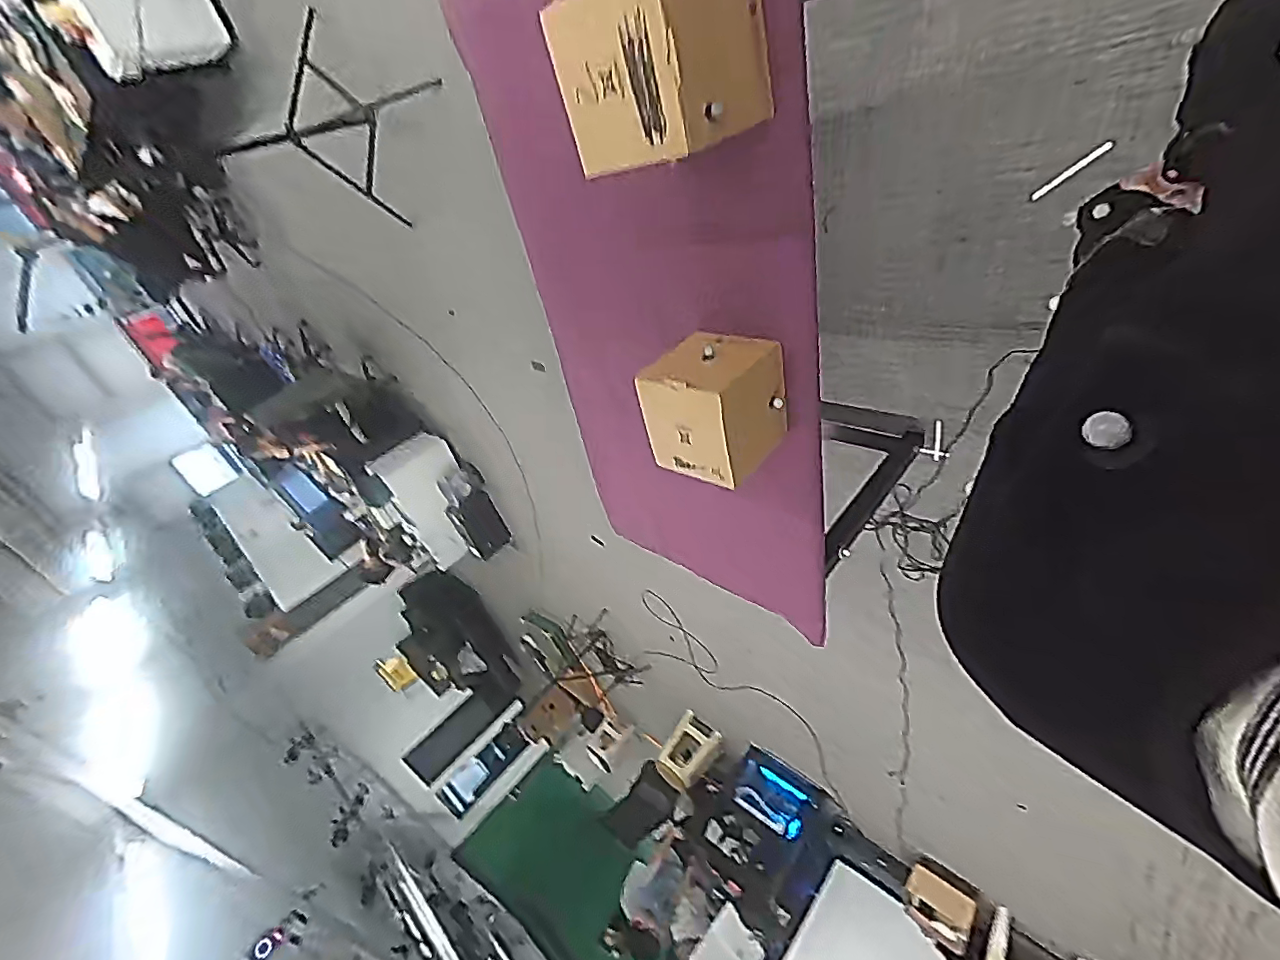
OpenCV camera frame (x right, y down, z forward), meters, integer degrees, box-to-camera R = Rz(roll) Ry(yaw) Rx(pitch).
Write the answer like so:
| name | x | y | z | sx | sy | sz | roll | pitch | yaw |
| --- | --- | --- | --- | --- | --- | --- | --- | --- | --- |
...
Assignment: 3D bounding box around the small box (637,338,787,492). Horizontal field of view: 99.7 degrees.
| name | x | y | z | sx | sy | sz | roll | pitch | yaw |
| --- | --- | --- | --- | --- | --- | --- | --- | --- | --- |
| small box | 0.124 | -0.114 | 0.879 | 0.168 | 0.176 | 0.179 | 20 | 138 | 39 |
